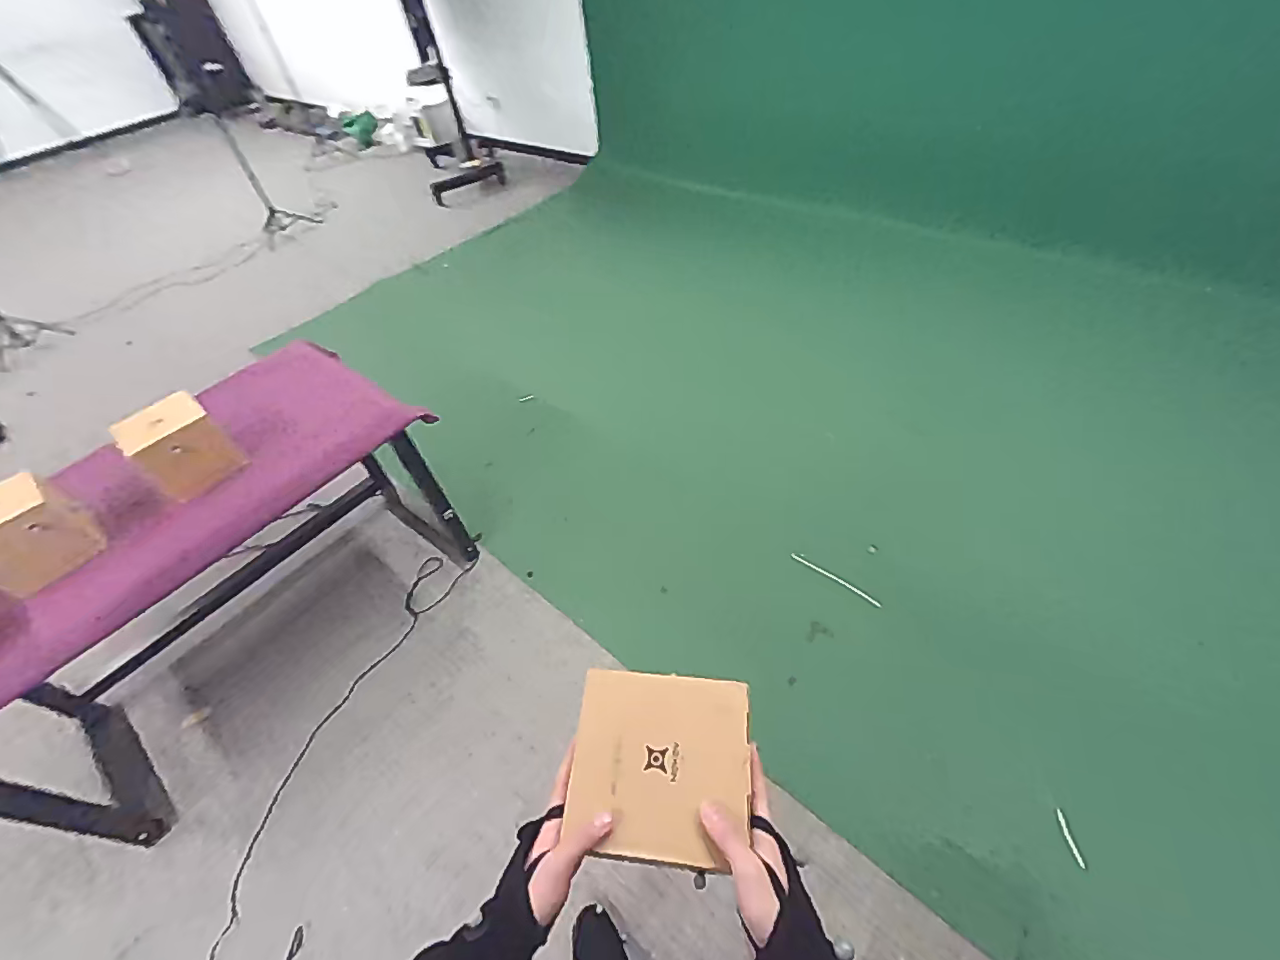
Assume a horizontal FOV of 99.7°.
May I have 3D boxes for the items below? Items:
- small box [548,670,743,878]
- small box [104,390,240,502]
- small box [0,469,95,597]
[{"bbox_3d":[0.017,0.321,0.587,0.179,0.176,0.168,2,53,8],"label":"small box"},{"bbox_3d":[-1.123,-0.083,1.316,0.168,0.176,0.179,31,60,29],"label":"small box"},{"bbox_3d":[-1.341,0.114,1.167,0.168,0.176,0.179,30,59,30],"label":"small box"}]
